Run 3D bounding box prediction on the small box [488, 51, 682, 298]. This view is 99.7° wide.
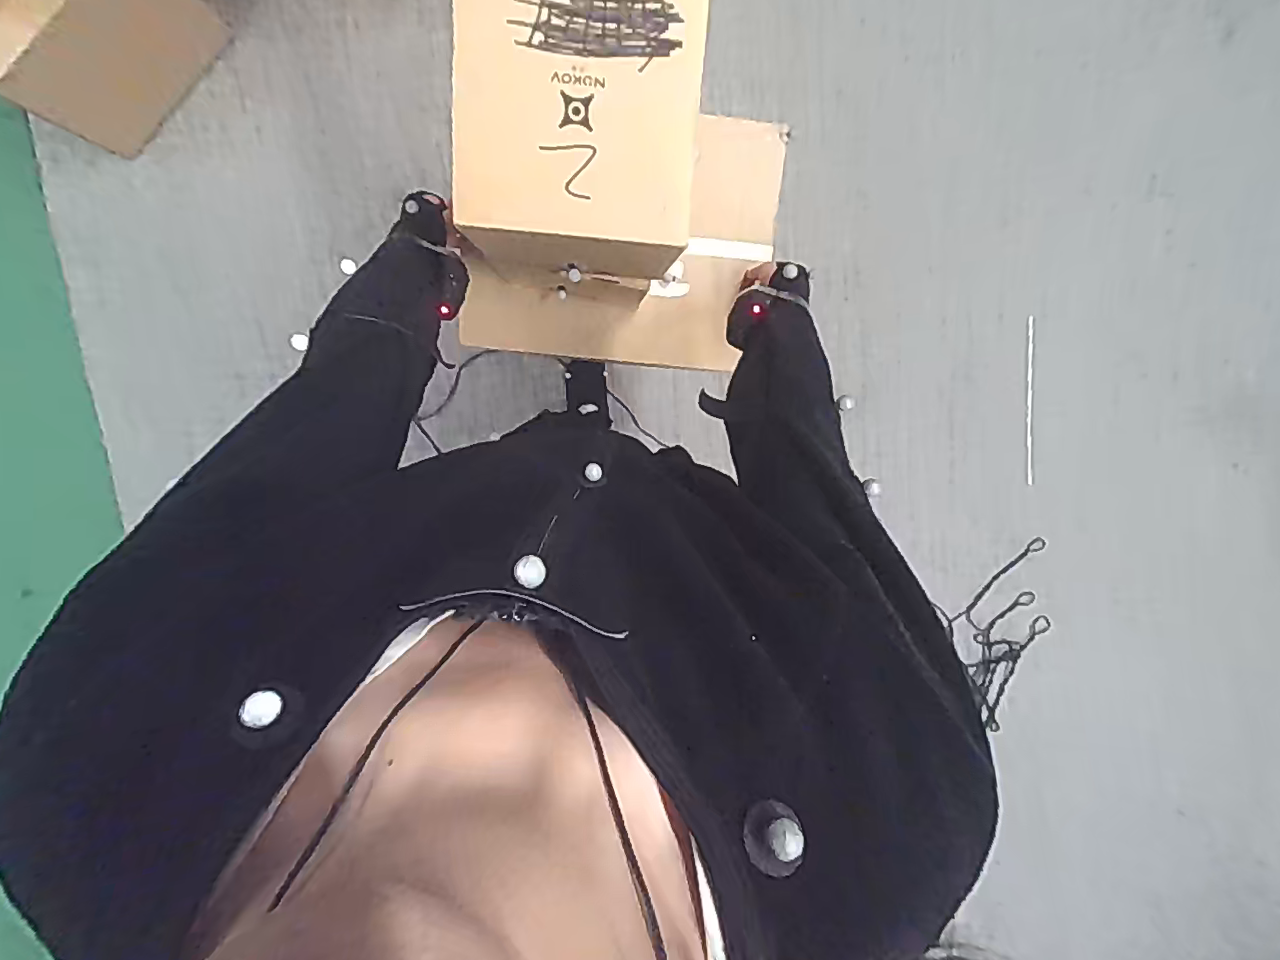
[{"bbox_3d":[-0.061,-0.311,0.594,0.168,0.176,0.179,8,101,-6],"label":"small box"}]
